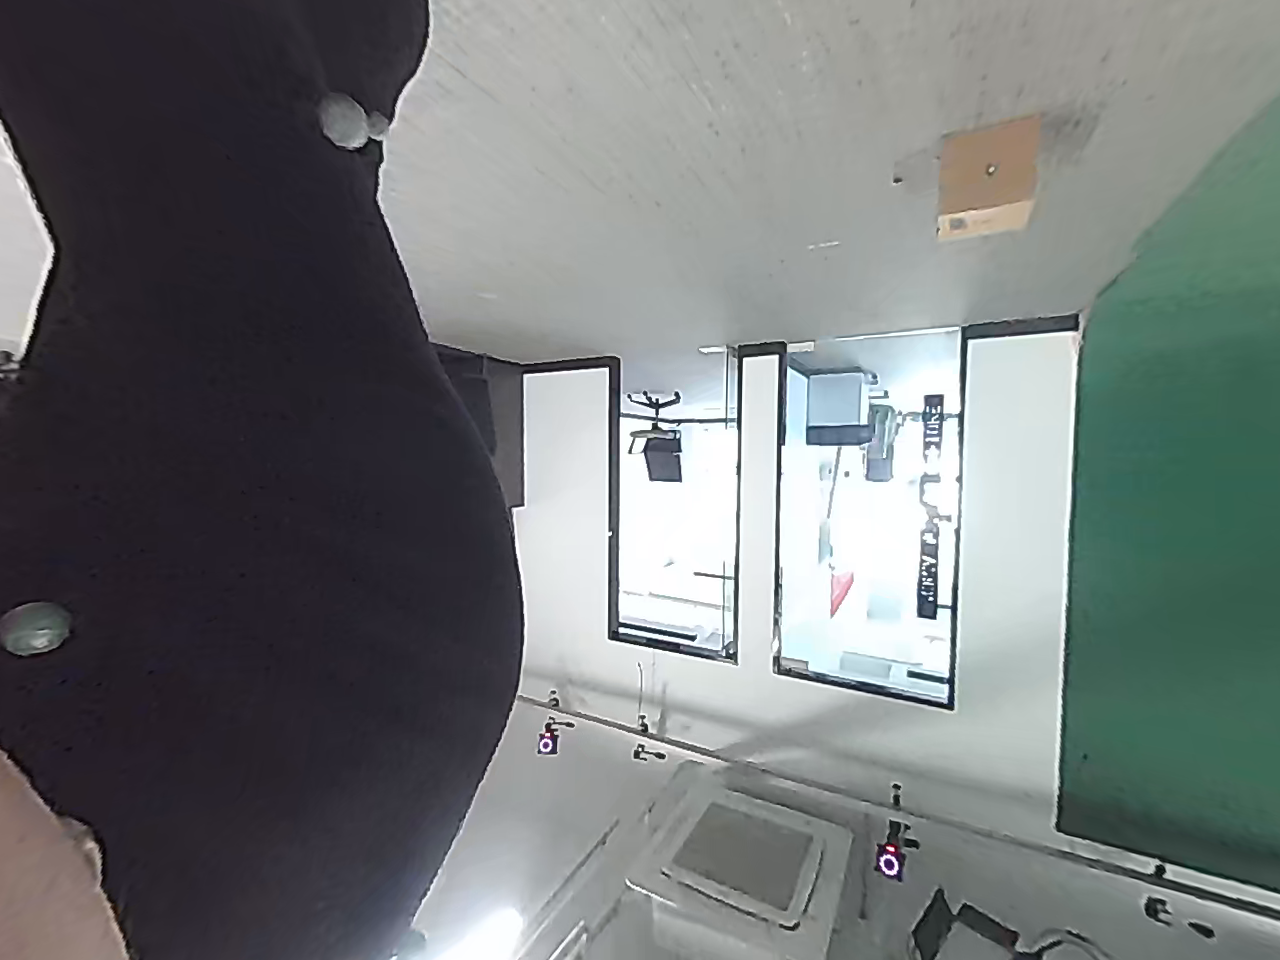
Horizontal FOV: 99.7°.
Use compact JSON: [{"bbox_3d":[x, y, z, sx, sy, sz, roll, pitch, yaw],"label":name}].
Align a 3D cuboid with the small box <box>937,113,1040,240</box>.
[{"bbox_3d":[0.753,-0.654,1.181,0.179,0.176,0.168,0,-177,28],"label":"small box"}]
